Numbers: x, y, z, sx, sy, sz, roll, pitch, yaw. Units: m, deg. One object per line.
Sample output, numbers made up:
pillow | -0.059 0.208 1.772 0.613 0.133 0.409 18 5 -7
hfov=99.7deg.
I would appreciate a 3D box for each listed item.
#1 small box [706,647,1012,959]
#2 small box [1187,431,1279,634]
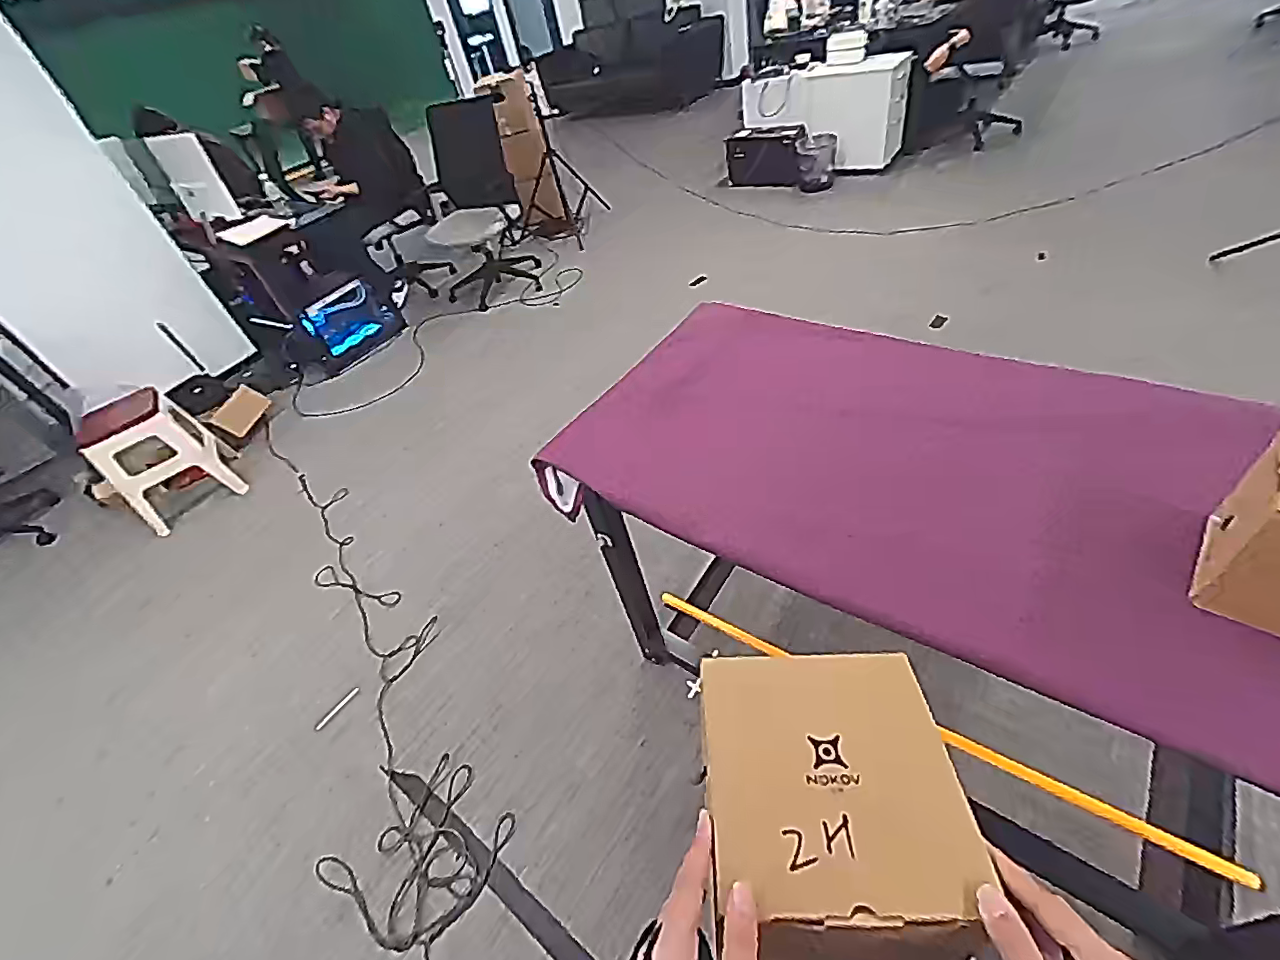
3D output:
small box | 0.138 0.254 0.424 0.168 0.176 0.179 -3 38 5
small box | 0.747 0.069 0.573 0.179 0.176 0.168 25 55 35
